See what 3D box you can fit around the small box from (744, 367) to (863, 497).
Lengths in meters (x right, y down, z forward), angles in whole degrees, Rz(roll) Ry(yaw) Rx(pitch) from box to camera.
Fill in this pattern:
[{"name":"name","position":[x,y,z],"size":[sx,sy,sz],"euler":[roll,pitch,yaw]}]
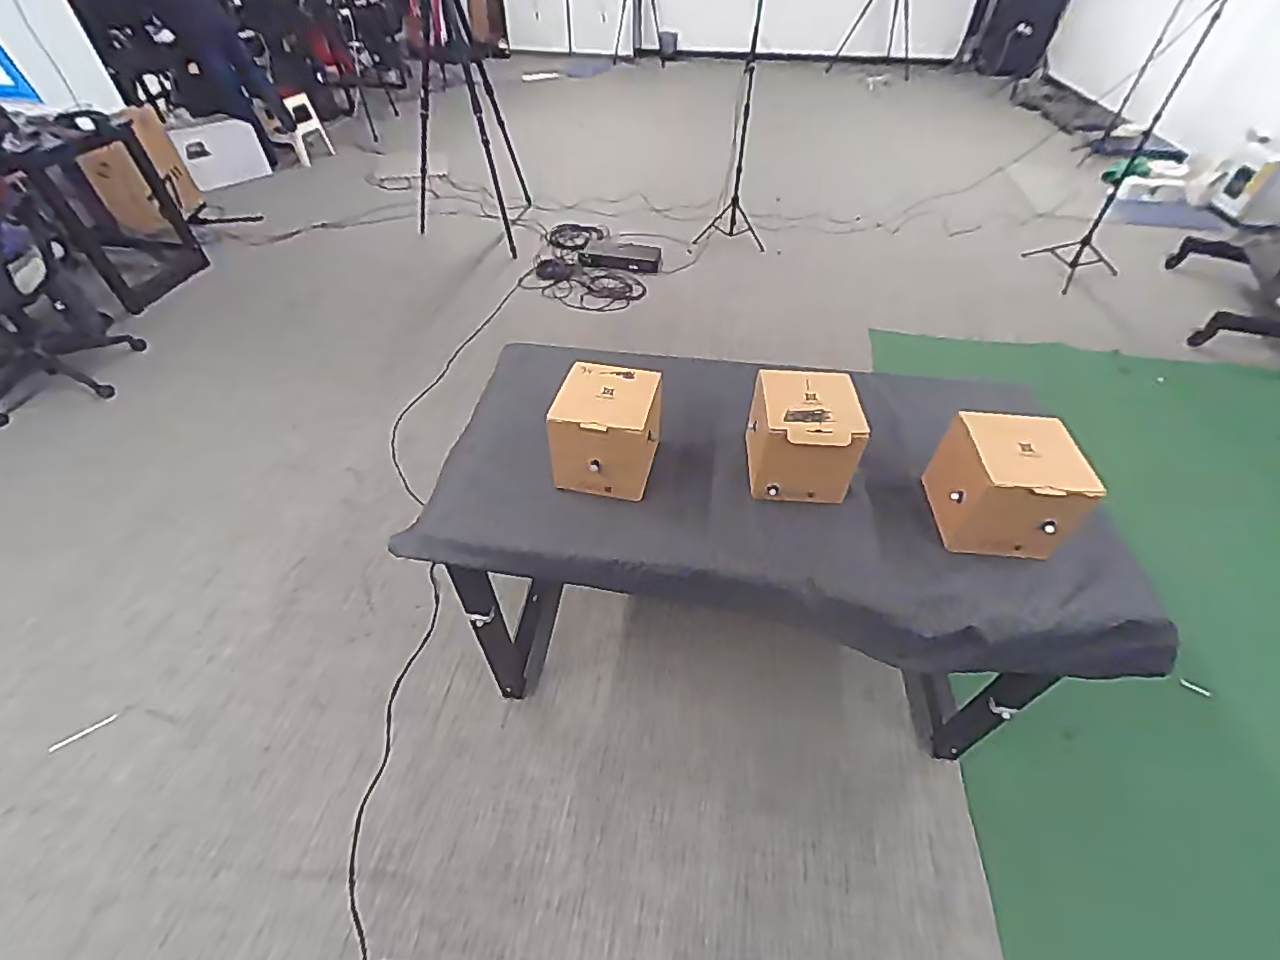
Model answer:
[{"name":"small box","position":[0.288,-0.086,0.992],"size":[0.168,0.176,0.179],"euler":[3,45,2]}]

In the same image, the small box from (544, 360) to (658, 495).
[{"name":"small box","position":[-0.063,-0.094,0.995],"size":[0.168,0.176,0.179],"euler":[9,47,8]}]

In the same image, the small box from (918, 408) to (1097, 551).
[{"name":"small box","position":[0.600,0.002,0.913],"size":[0.168,0.176,0.179],"euler":[5,45,3]}]
